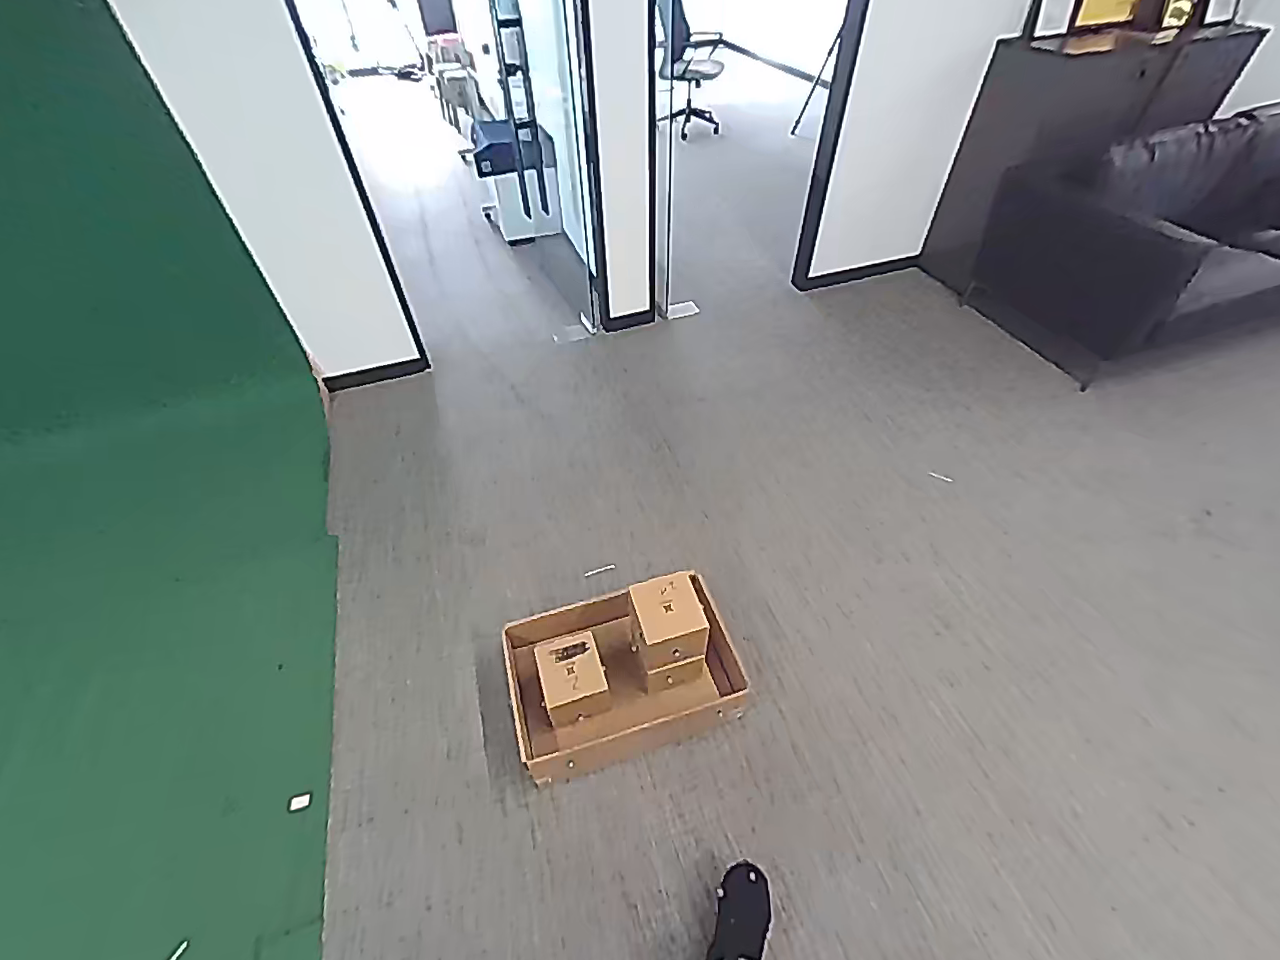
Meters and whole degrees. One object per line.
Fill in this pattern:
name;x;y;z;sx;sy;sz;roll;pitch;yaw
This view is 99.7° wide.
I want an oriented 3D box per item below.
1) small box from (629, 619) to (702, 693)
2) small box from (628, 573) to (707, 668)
small box;0.073;0.494;1.563;0.168;0.176;0.179;-14;49;-10
small box;0.071;0.381;1.442;0.168;0.176;0.179;-13;49;-10
